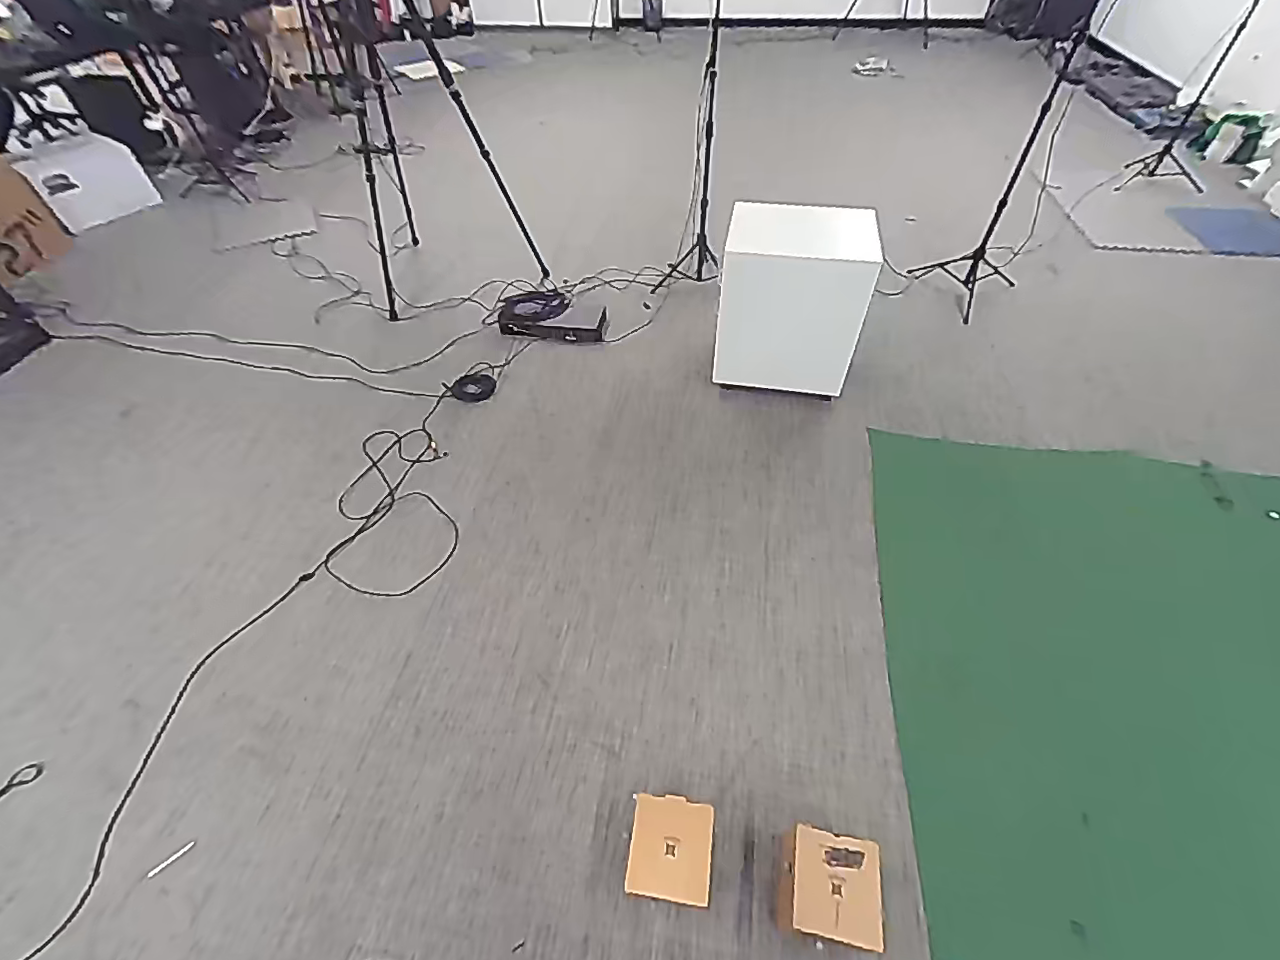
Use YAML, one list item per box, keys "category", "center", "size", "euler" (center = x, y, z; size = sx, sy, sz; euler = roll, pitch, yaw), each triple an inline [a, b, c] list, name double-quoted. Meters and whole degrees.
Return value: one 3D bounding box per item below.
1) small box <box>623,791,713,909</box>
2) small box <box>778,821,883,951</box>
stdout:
- category: "small box"
  center: [0.062, 0.791, 1.153]
  size: [0.168, 0.176, 0.179]
  euler: [6, 49, 6]
- category: "small box"
  center: [0.383, 0.832, 1.109]
  size: [0.168, 0.176, 0.179]
  euler: [9, 51, 9]
